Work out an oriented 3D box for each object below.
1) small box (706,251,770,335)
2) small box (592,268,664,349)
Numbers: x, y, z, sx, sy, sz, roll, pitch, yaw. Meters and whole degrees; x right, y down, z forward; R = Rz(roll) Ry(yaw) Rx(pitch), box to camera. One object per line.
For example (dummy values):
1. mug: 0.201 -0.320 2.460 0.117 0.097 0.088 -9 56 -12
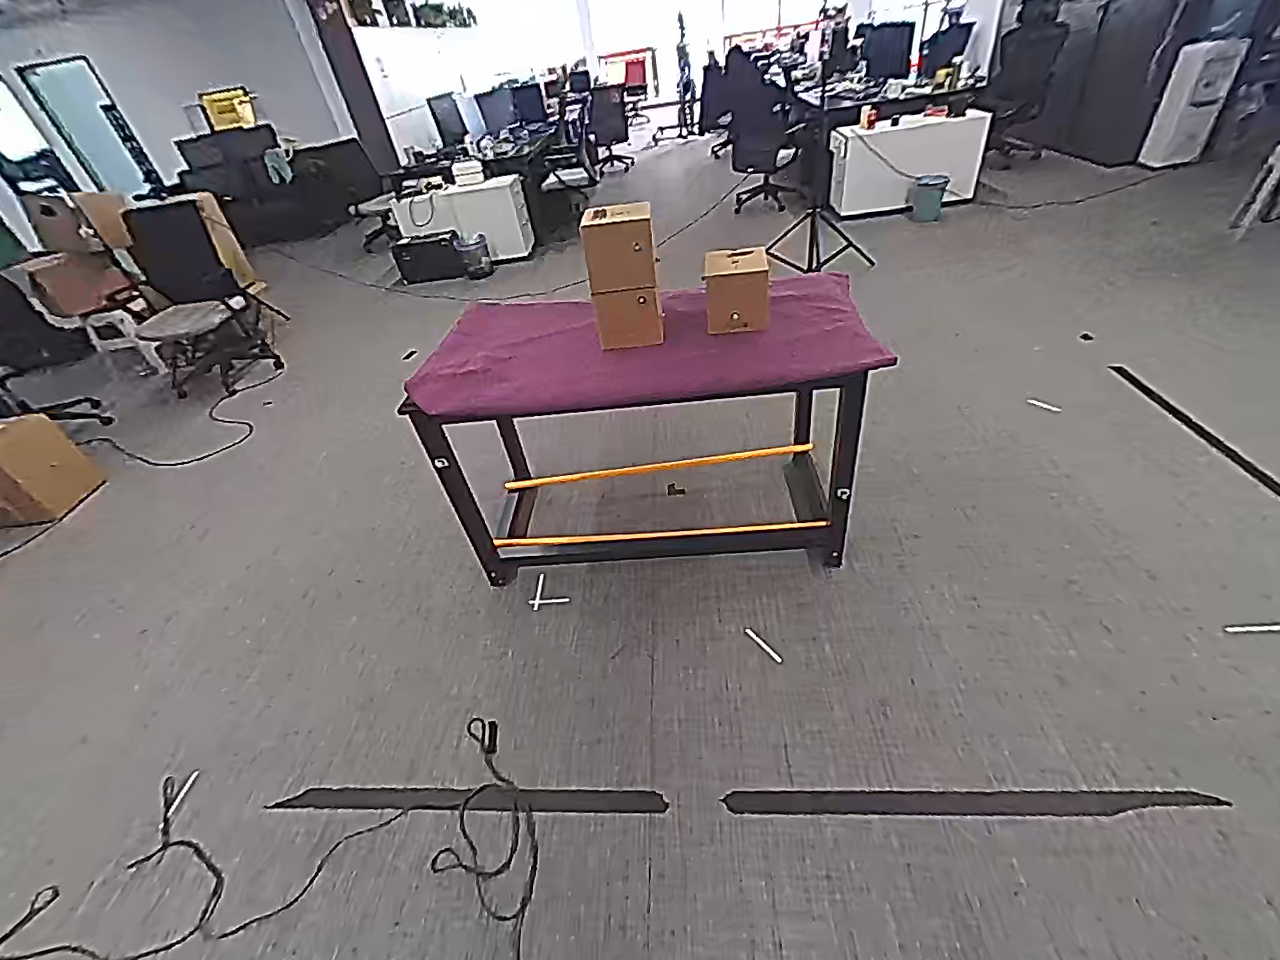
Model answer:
1. small box: 0.271 -0.521 1.508 0.168 0.176 0.179 -2 40 10
2. small box: -0.029 -0.480 1.525 0.179 0.176 0.168 -4 39 6
